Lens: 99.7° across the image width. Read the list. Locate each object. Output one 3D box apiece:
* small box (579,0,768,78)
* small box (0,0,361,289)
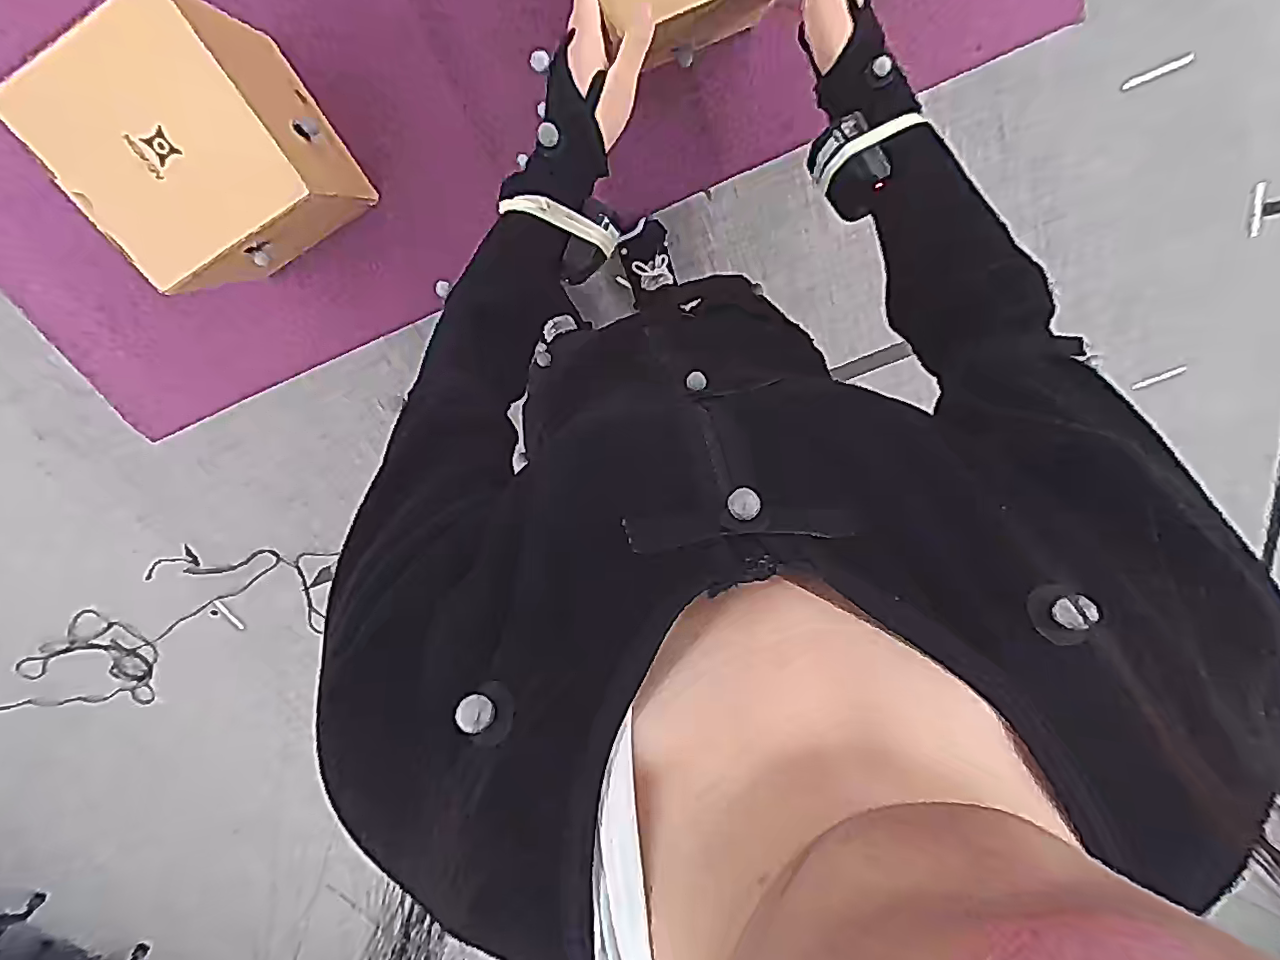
[{"bbox_3d":[0.016,-0.480,0.453,0.168,0.176,0.179,-19,117,5],"label":"small box"},{"bbox_3d":[-0.398,-0.308,0.510,0.179,0.176,0.168,-27,116,9],"label":"small box"}]
